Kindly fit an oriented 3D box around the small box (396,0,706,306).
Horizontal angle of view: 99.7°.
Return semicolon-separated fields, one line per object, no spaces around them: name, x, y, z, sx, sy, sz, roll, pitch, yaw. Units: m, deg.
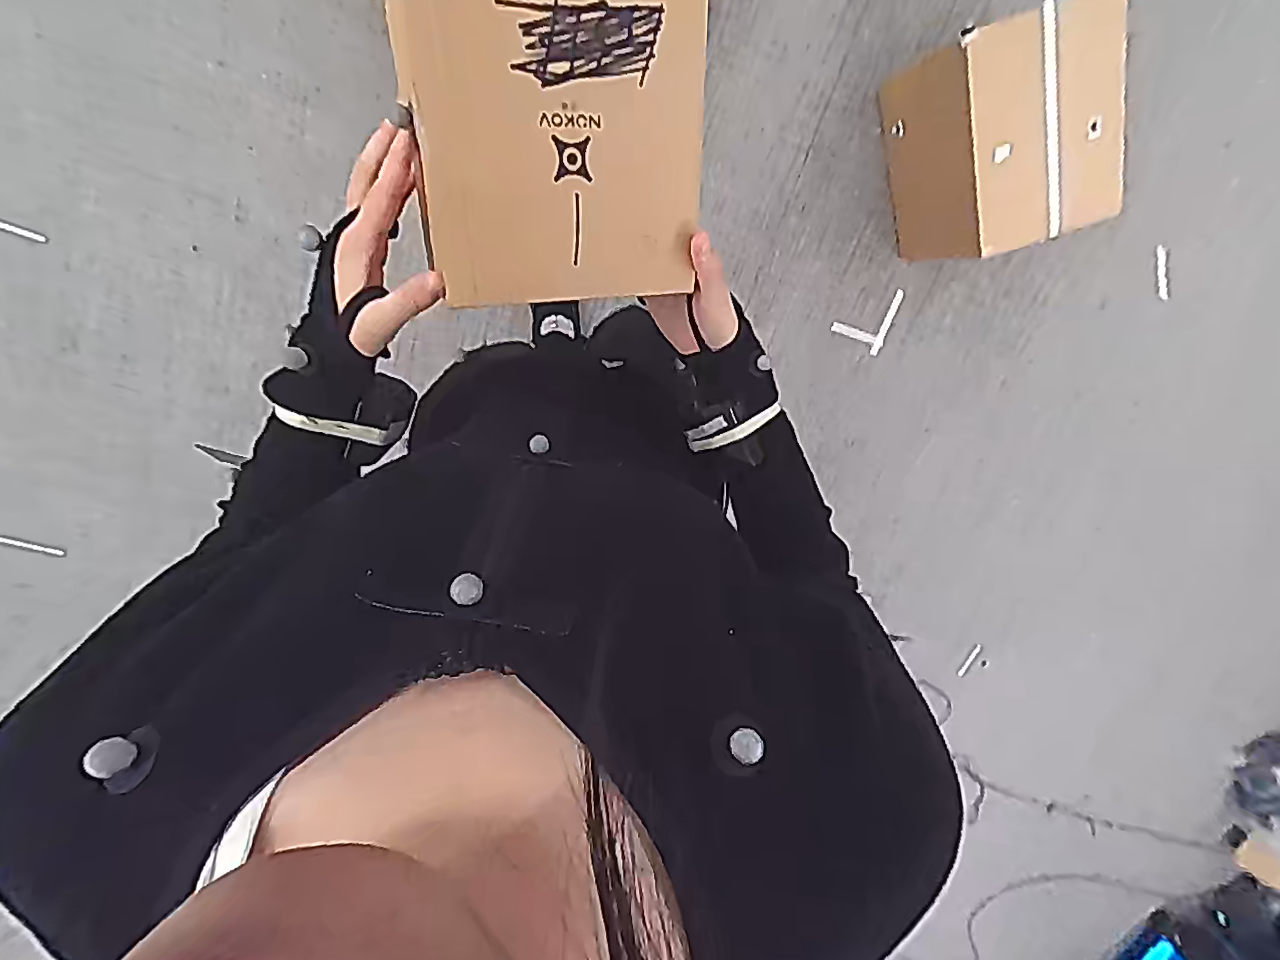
small box;-0.069;-0.228;0.379;0.168;0.176;0.179;-10;120;-20
